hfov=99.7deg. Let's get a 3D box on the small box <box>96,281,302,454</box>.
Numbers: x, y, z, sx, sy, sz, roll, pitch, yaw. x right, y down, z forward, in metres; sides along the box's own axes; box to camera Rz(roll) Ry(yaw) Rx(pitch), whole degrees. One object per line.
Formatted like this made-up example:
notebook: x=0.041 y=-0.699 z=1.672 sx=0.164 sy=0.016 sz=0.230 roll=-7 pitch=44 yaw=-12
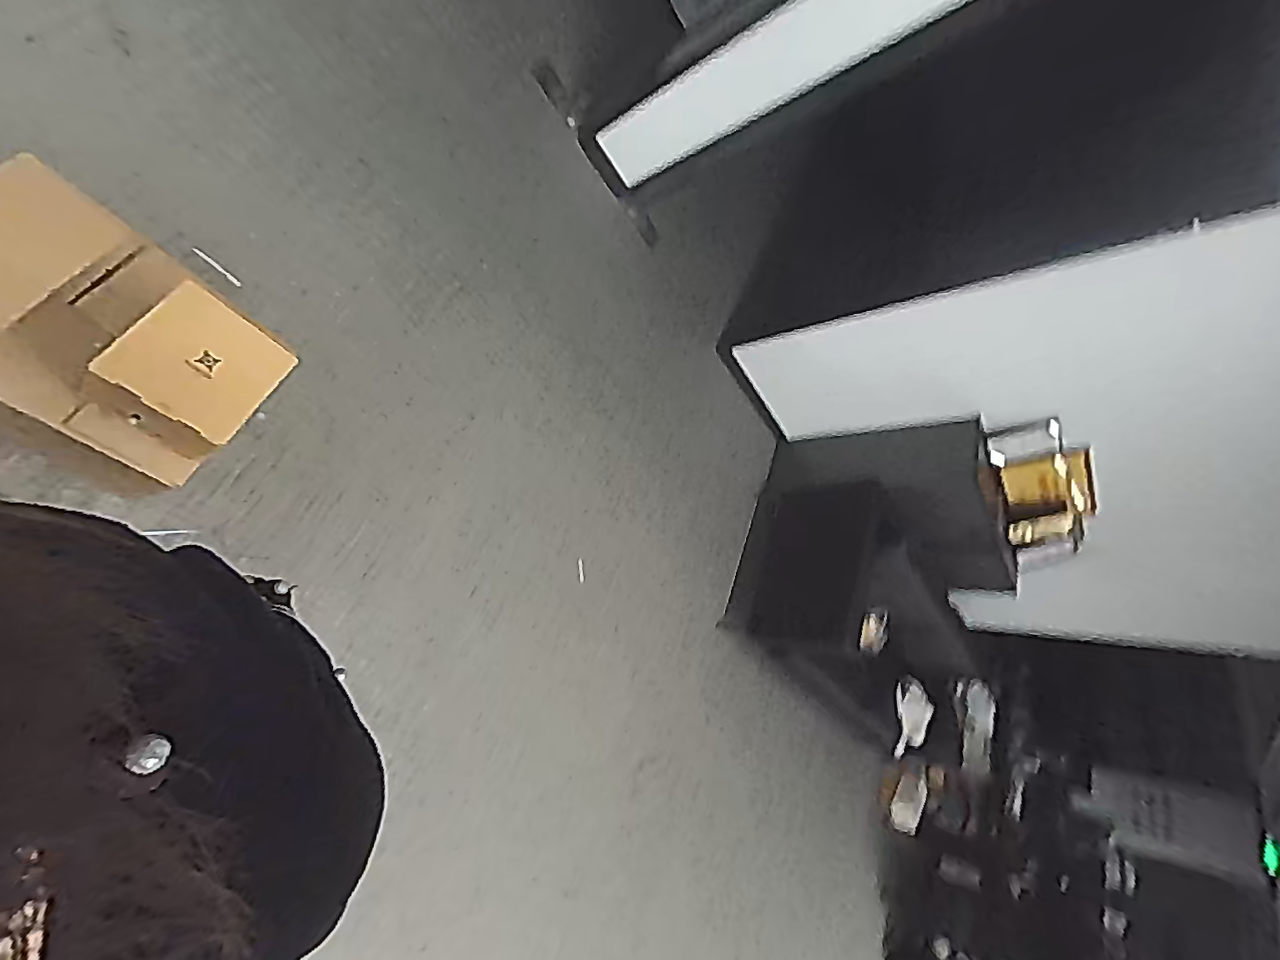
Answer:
small box: x=-0.661 y=-0.158 z=0.810 sx=0.168 sy=0.176 sz=0.179 roll=45 pitch=55 yaw=-36
